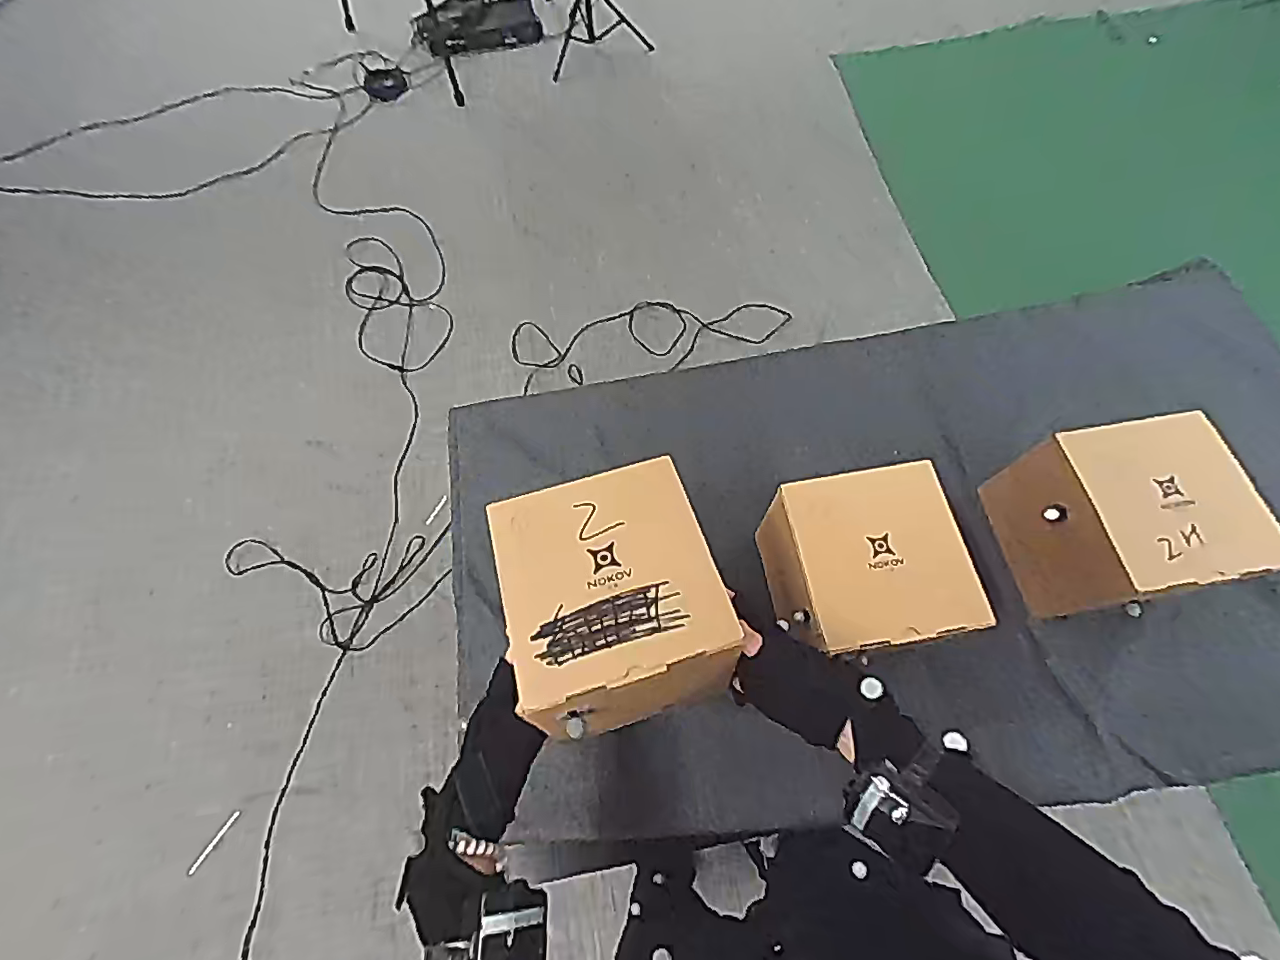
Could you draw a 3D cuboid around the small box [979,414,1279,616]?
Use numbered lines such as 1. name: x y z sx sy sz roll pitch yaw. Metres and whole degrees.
1. small box: 0.537 0.048 0.624 0.168 0.176 0.179 -9 68 -2
